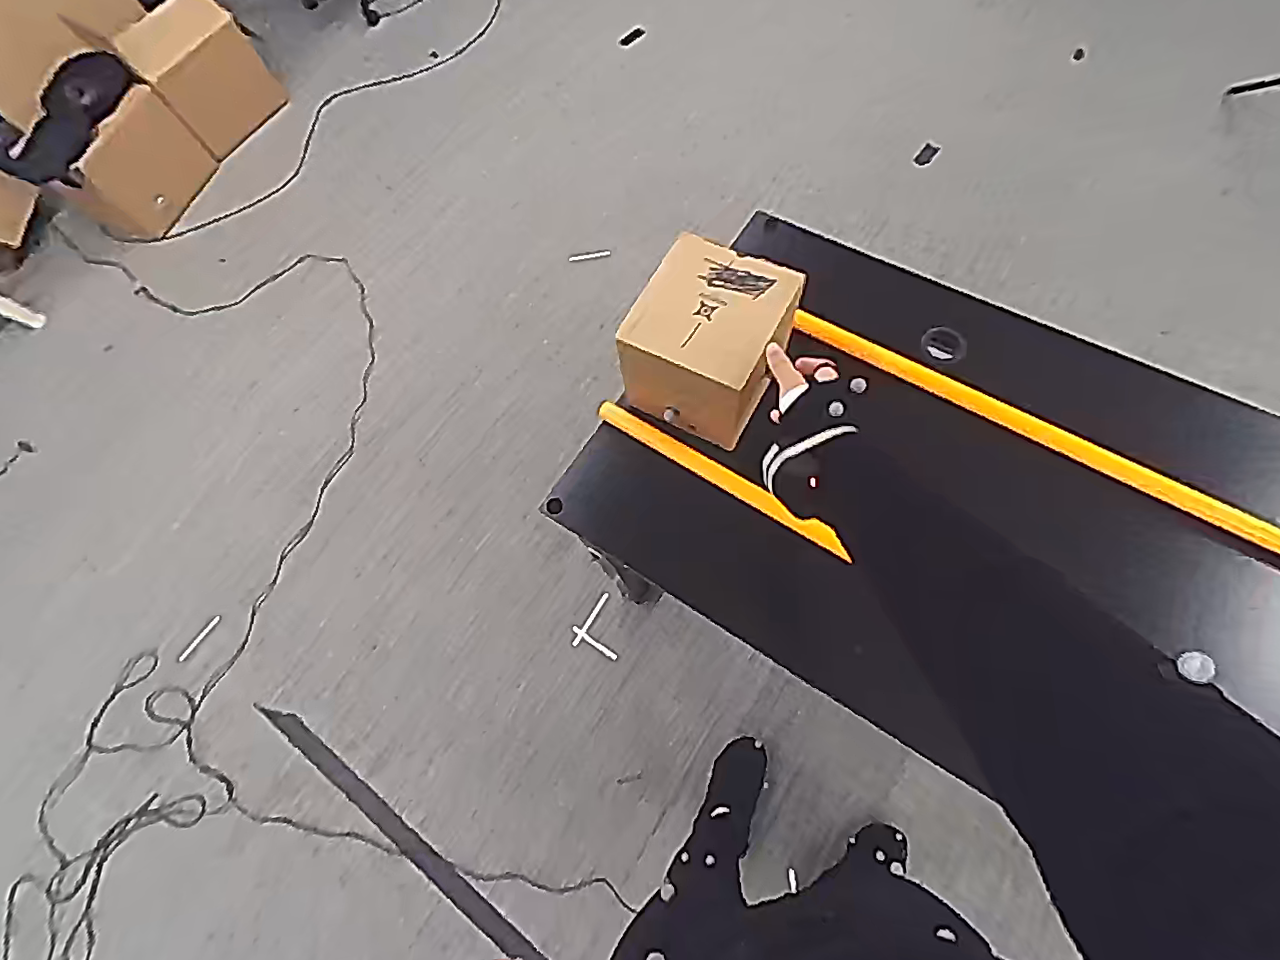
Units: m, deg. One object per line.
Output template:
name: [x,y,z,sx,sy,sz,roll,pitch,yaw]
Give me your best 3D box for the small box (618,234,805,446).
small box: [0.090,-0.175,0.709,0.168,0.176,0.179,27,75,15]
